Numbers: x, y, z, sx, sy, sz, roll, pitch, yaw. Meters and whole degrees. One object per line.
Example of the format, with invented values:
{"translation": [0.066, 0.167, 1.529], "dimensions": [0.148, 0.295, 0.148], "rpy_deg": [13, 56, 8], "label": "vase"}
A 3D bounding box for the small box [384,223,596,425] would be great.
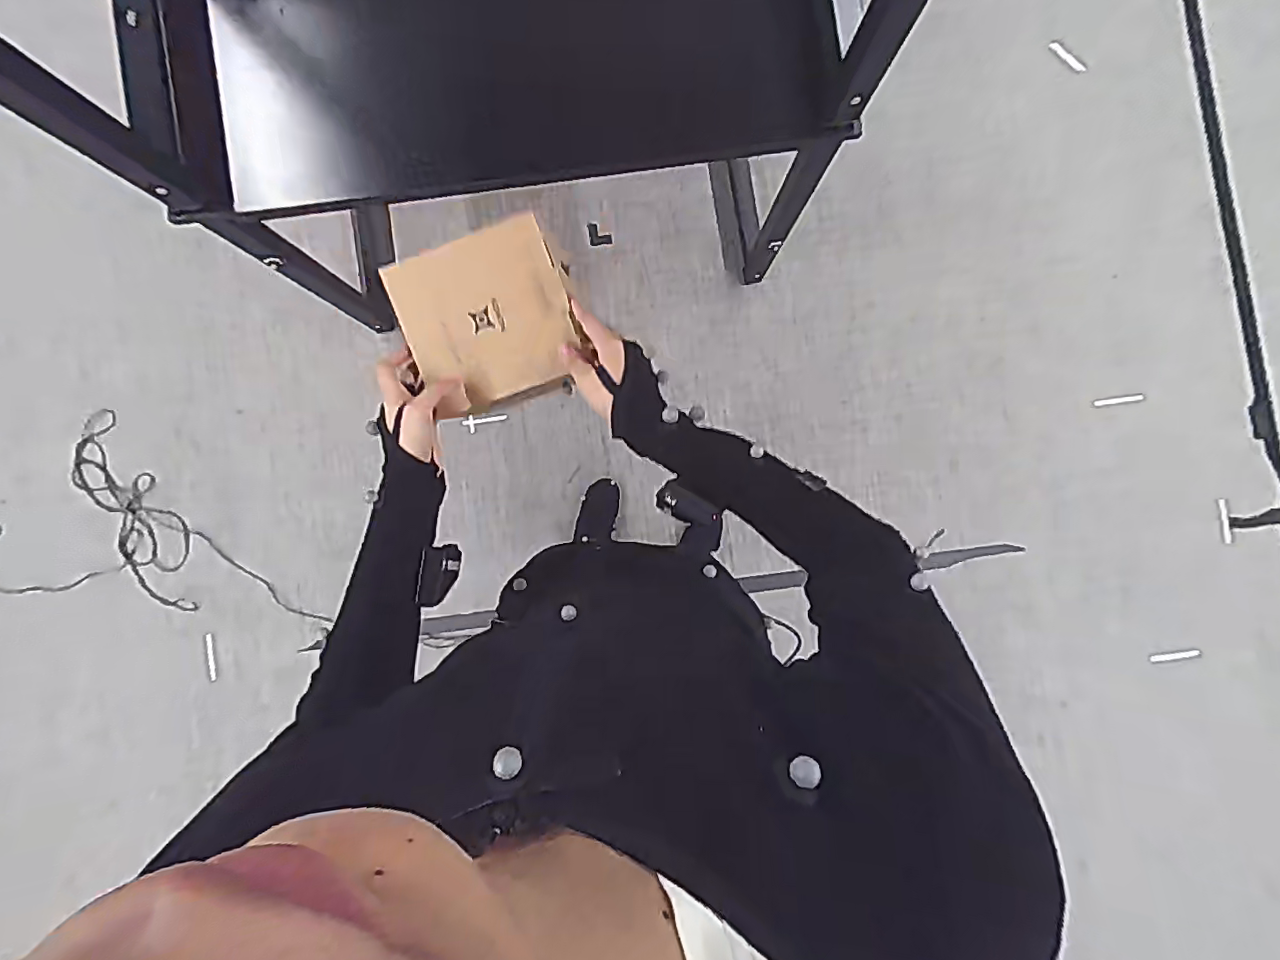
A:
{"translation": [-0.158, -0.171, 0.642], "dimensions": [0.179, 0.176, 0.168], "rpy_deg": [-18, 96, 5], "label": "small box"}
